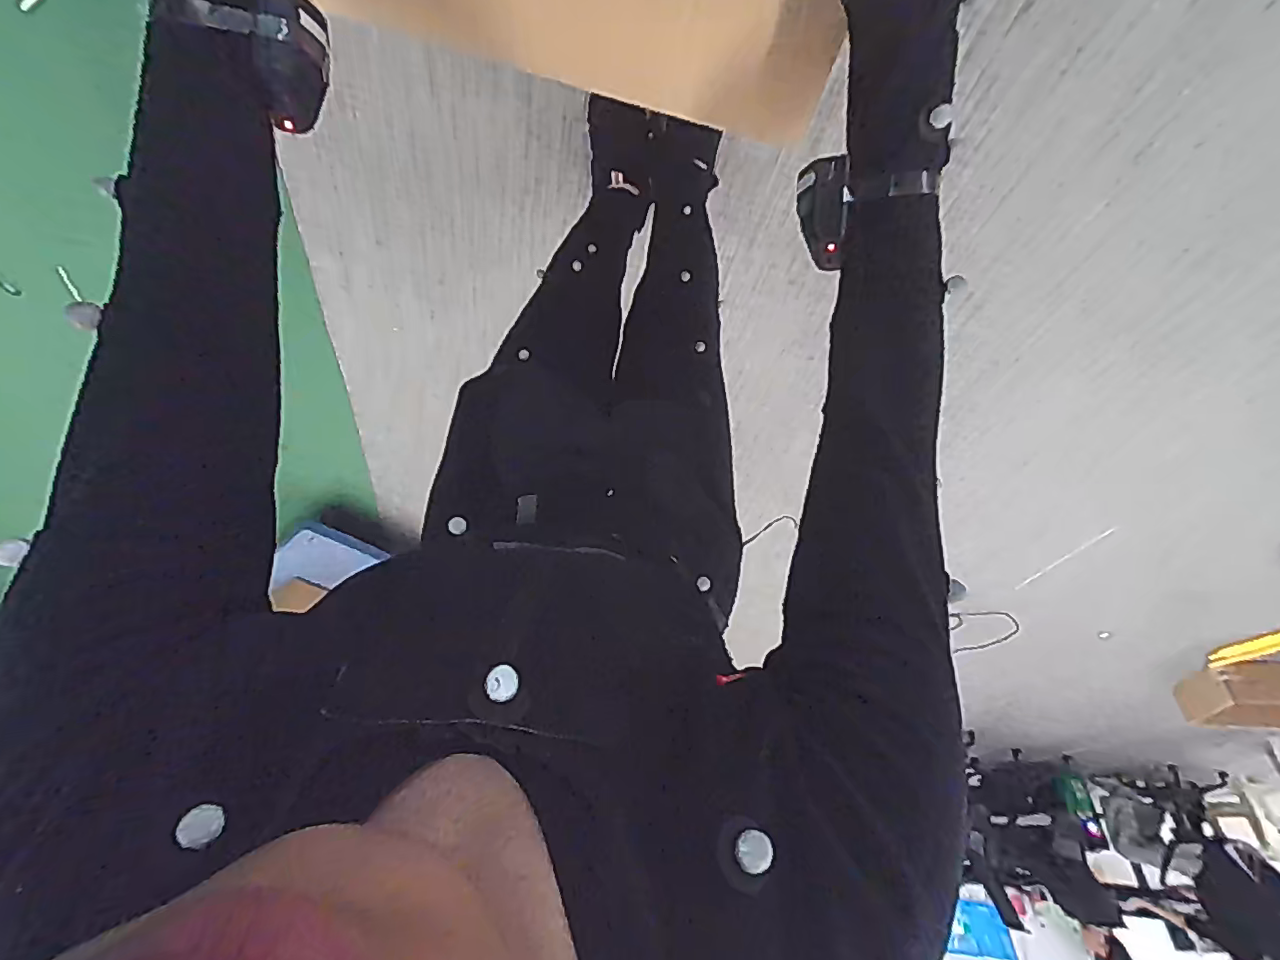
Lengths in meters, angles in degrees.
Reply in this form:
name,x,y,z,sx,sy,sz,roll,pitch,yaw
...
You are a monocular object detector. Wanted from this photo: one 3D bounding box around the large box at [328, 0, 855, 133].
name,x,y,z,sx,sy,sz,roll,pitch,yaw
large box,-0.015,-0.539,0.427,0.408,0.320,0.320,11,138,-8
